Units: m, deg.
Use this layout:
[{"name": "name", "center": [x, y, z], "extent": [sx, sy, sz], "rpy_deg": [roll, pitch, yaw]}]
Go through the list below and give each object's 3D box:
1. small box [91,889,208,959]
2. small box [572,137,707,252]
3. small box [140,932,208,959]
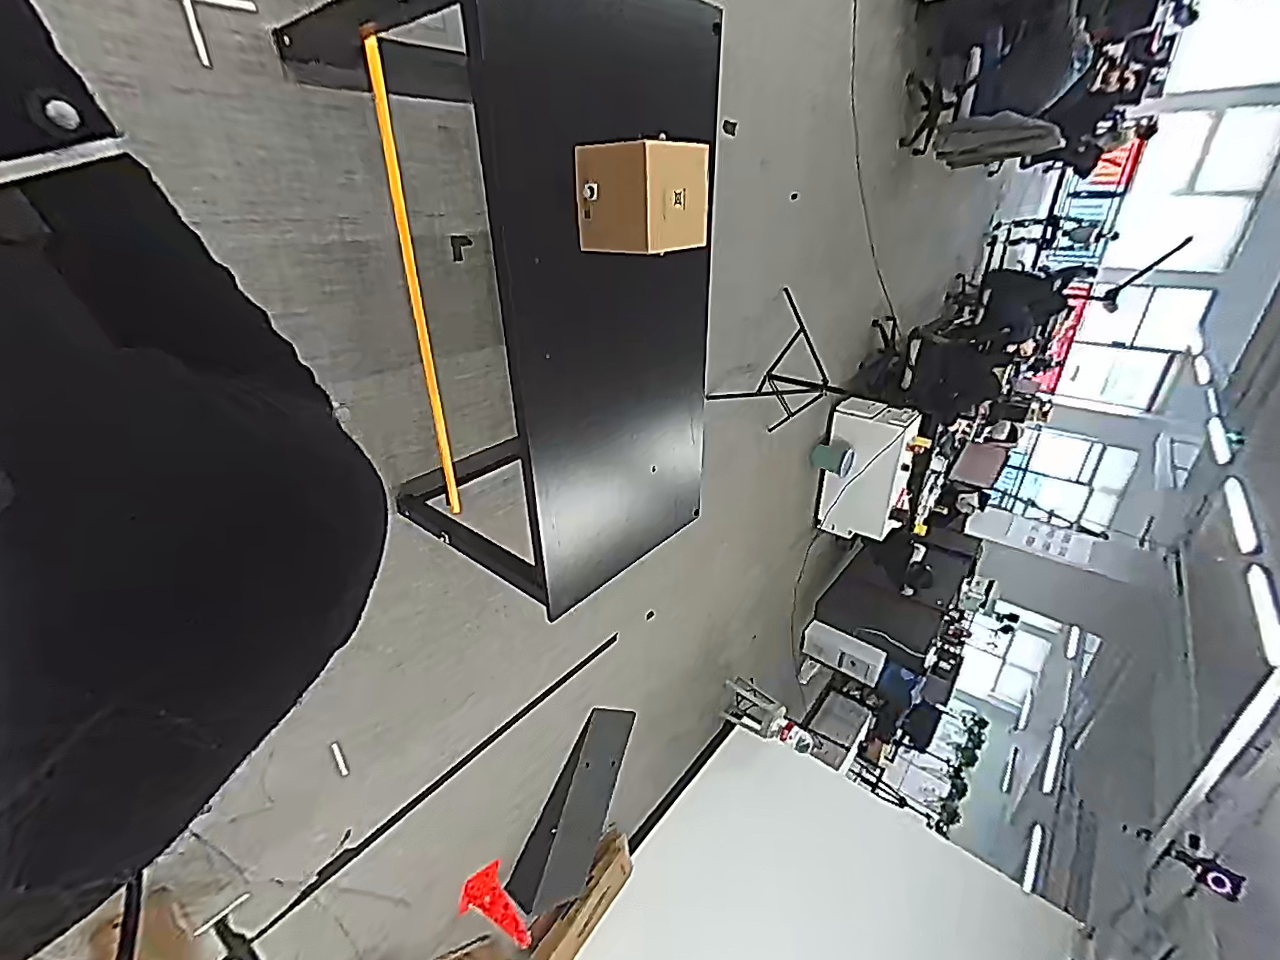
[{"name": "small box", "center": [-1.279, 1.223, 1.409], "extent": [0.168, 0.176, 0.179], "rpy_deg": [-29, 127, -42]}, {"name": "small box", "center": [0.002, -0.508, 0.967], "extent": [0.179, 0.176, 0.168], "rpy_deg": [-30, 129, -41]}, {"name": "small box", "center": [-1.151, 1.263, 1.311], "extent": [0.168, 0.176, 0.179], "rpy_deg": [-27, 127, -43]}]
